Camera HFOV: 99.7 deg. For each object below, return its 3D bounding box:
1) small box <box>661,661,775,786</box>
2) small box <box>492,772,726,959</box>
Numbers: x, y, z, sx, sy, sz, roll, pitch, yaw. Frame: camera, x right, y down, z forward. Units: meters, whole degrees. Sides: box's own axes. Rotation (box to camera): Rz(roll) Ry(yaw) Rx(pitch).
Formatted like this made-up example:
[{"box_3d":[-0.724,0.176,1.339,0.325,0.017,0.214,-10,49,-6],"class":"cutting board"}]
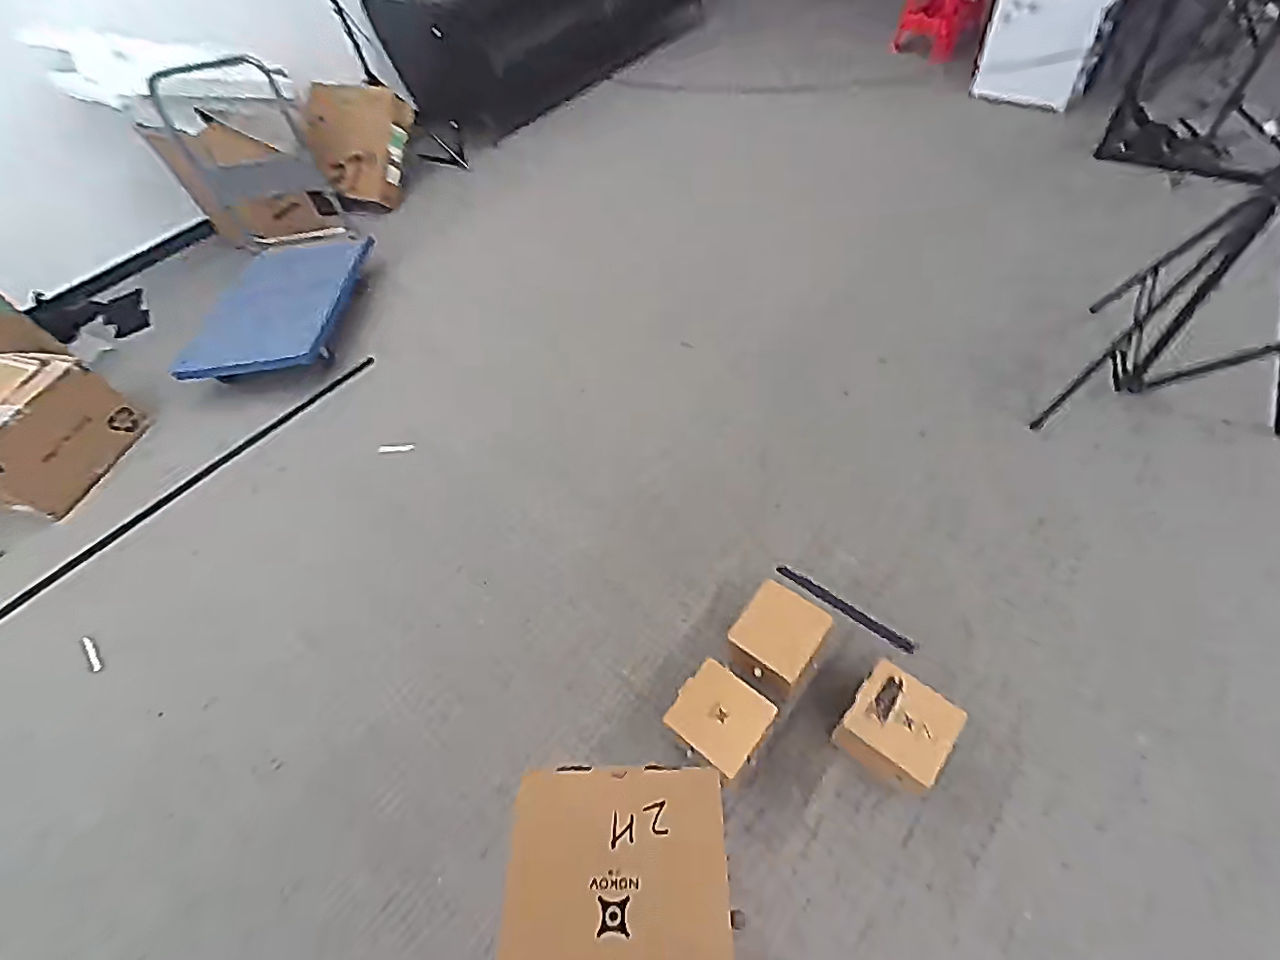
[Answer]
[{"box_3d":[0.169,0.527,1.160,0.179,0.176,0.168,32,65,28],"class":"small box"},{"box_3d":[-0.018,0.358,0.452,0.168,0.176,0.179,-2,51,1],"class":"small box"}]
